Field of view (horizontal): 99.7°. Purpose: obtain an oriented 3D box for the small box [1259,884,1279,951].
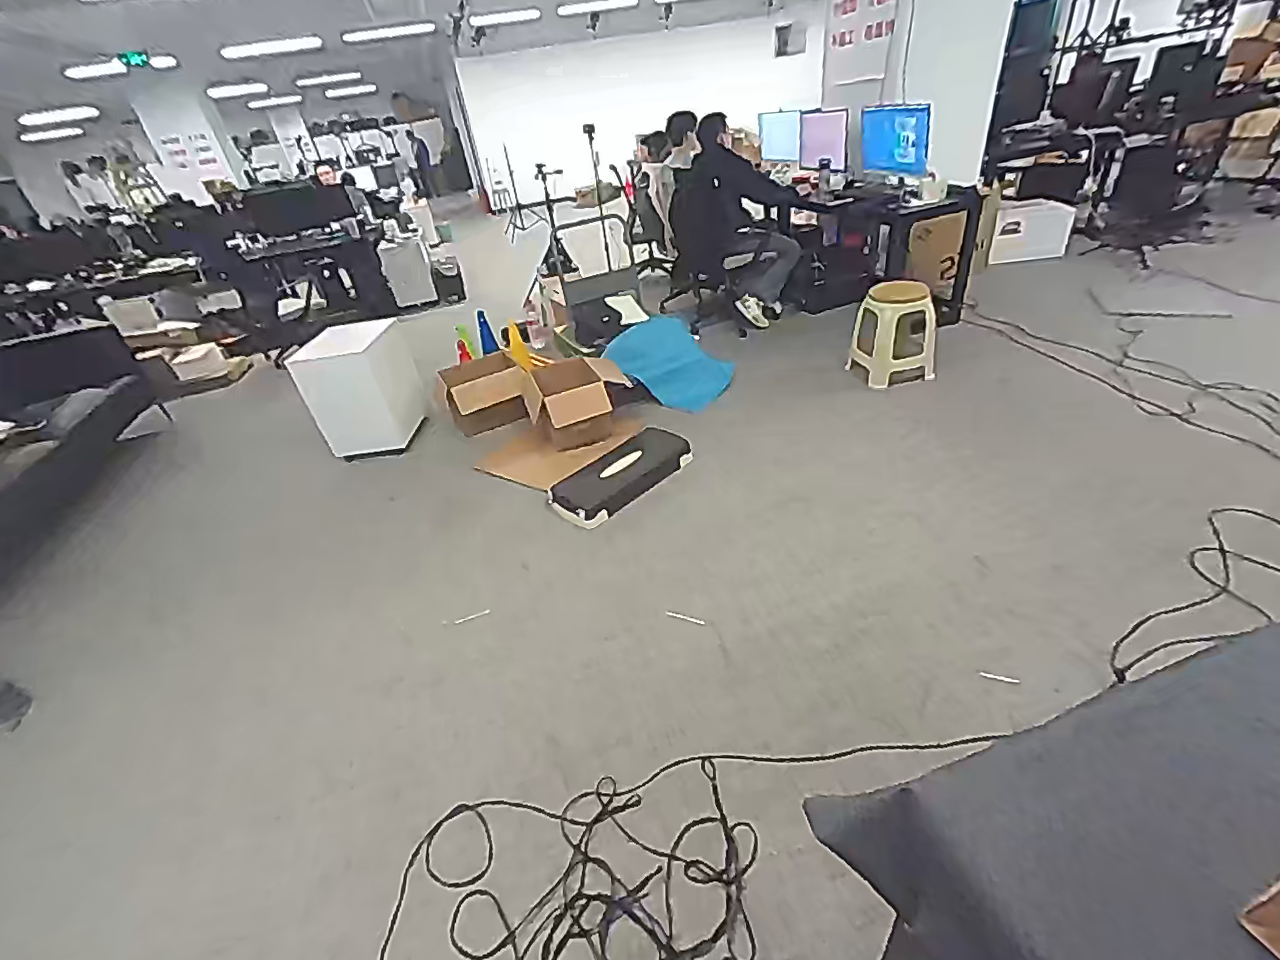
[{"bbox_3d":[0.630,0.332,0.390,0.179,0.176,0.168,-19,36,-16],"label":"small box"}]
